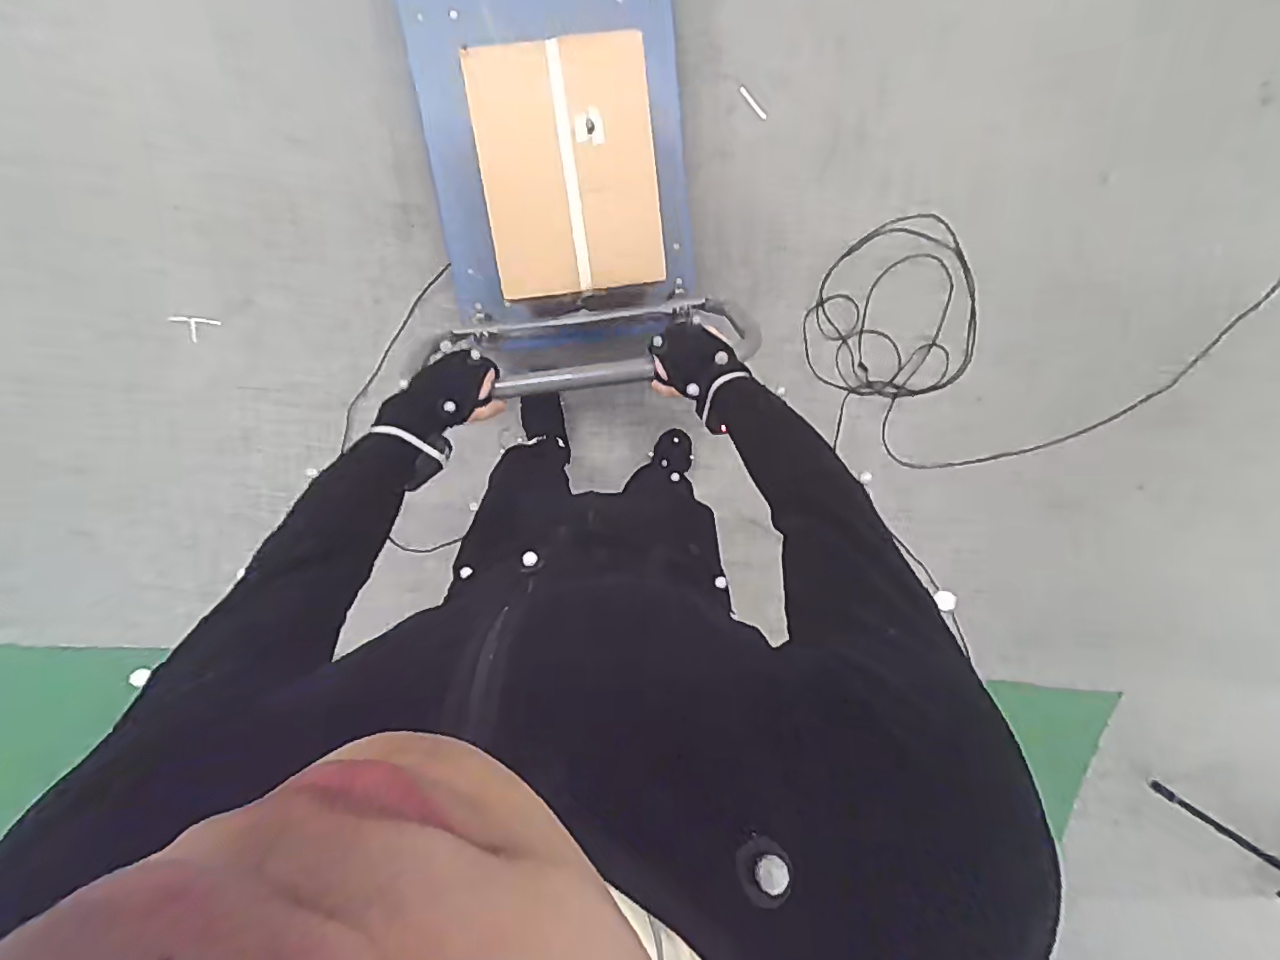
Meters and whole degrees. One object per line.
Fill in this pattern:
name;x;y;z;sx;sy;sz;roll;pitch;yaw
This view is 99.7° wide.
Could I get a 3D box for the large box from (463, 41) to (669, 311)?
large box;-0.133;-0.580;1.116;0.320;0.320;0.408;-8;106;-3
